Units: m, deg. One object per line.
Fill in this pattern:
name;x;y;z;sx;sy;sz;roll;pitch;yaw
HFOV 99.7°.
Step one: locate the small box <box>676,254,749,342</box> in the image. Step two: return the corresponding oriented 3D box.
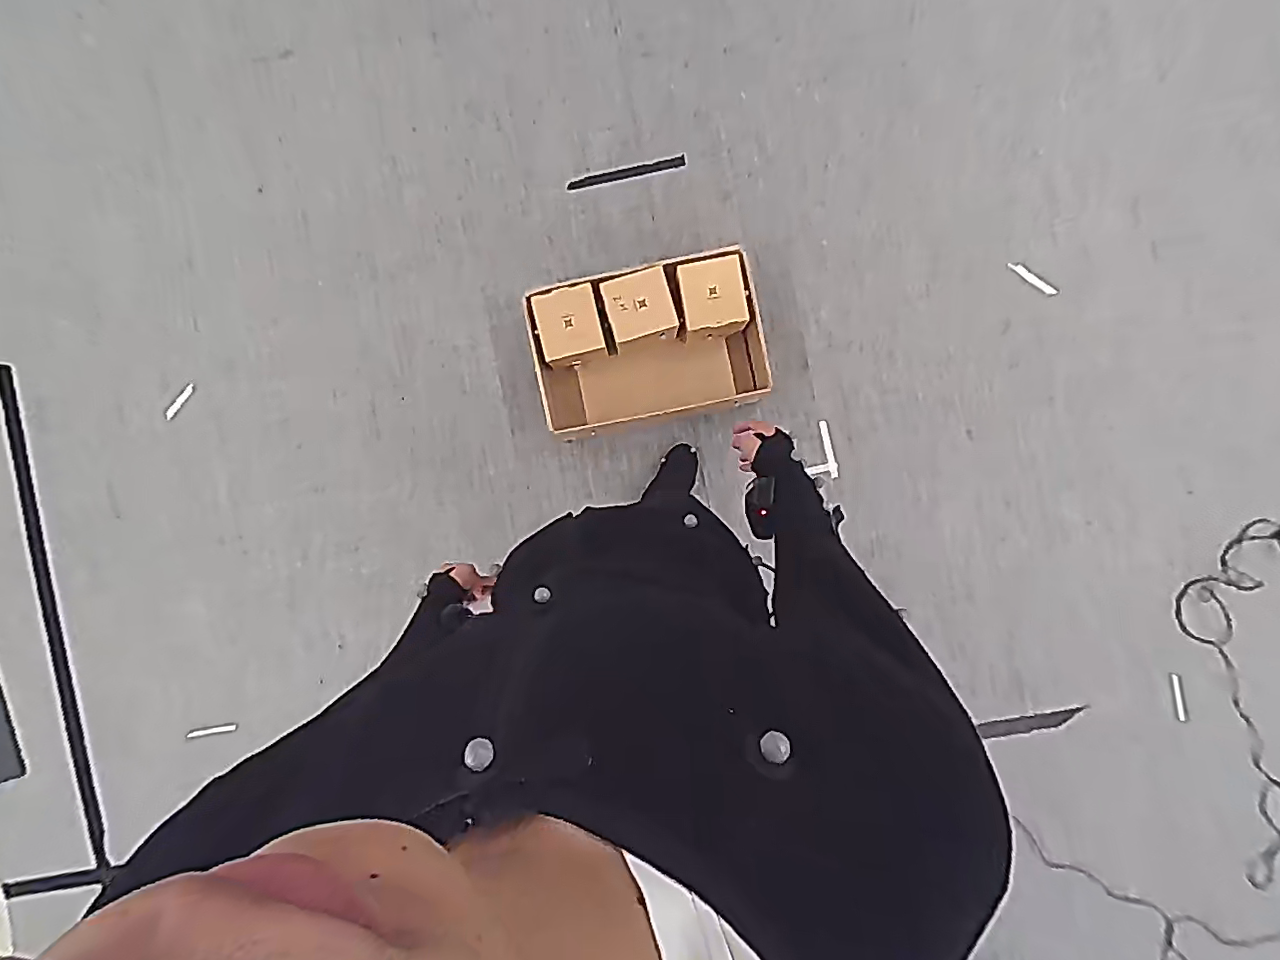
small box;0.194;-0.497;1.496;0.168;0.176;0.179;-11;93;2
